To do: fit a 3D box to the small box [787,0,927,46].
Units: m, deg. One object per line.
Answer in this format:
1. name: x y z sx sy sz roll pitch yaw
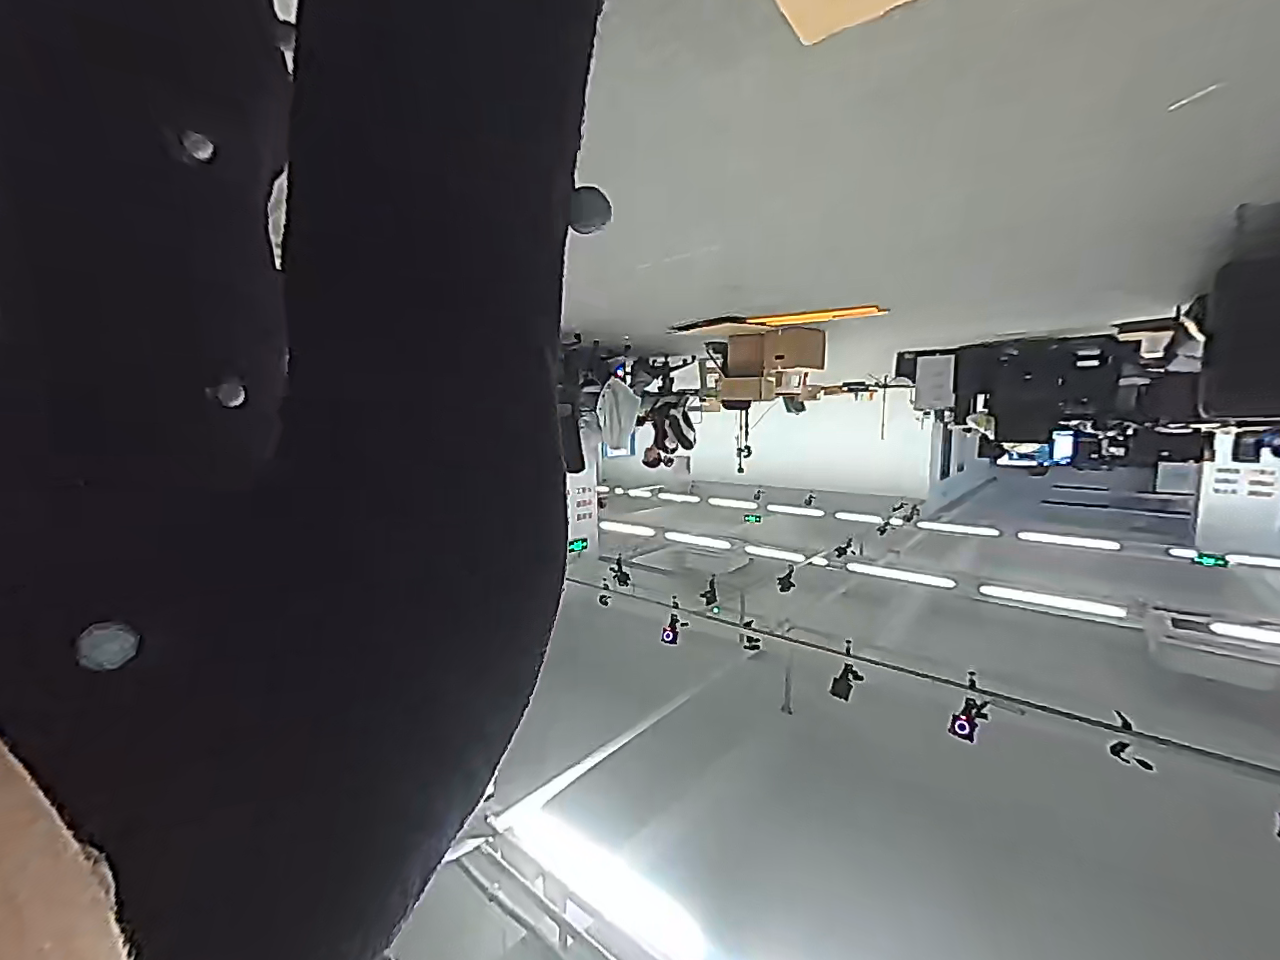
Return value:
1. small box: 0.259 -0.674 0.630 0.168 0.176 0.179 5 -171 37
